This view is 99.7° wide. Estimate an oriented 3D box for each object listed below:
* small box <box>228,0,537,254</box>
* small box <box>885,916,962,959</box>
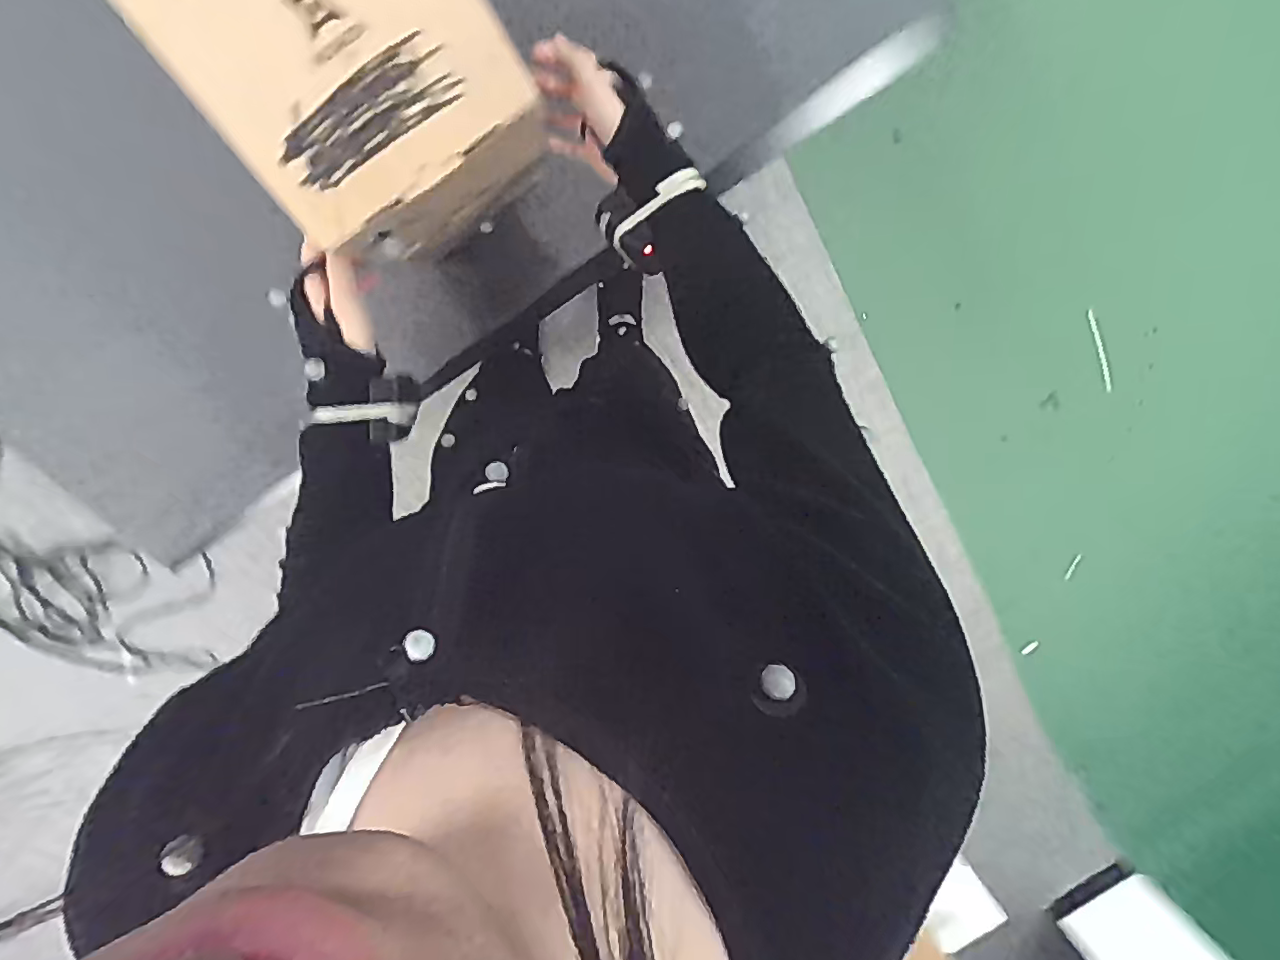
[{"bbox_3d":[-0.217,-0.336,0.511,0.168,0.176,0.179,-37,113,4],"label":"small box"},{"bbox_3d":[0.833,1.390,1.530,0.168,0.176,0.179,-34,114,2],"label":"small box"}]
